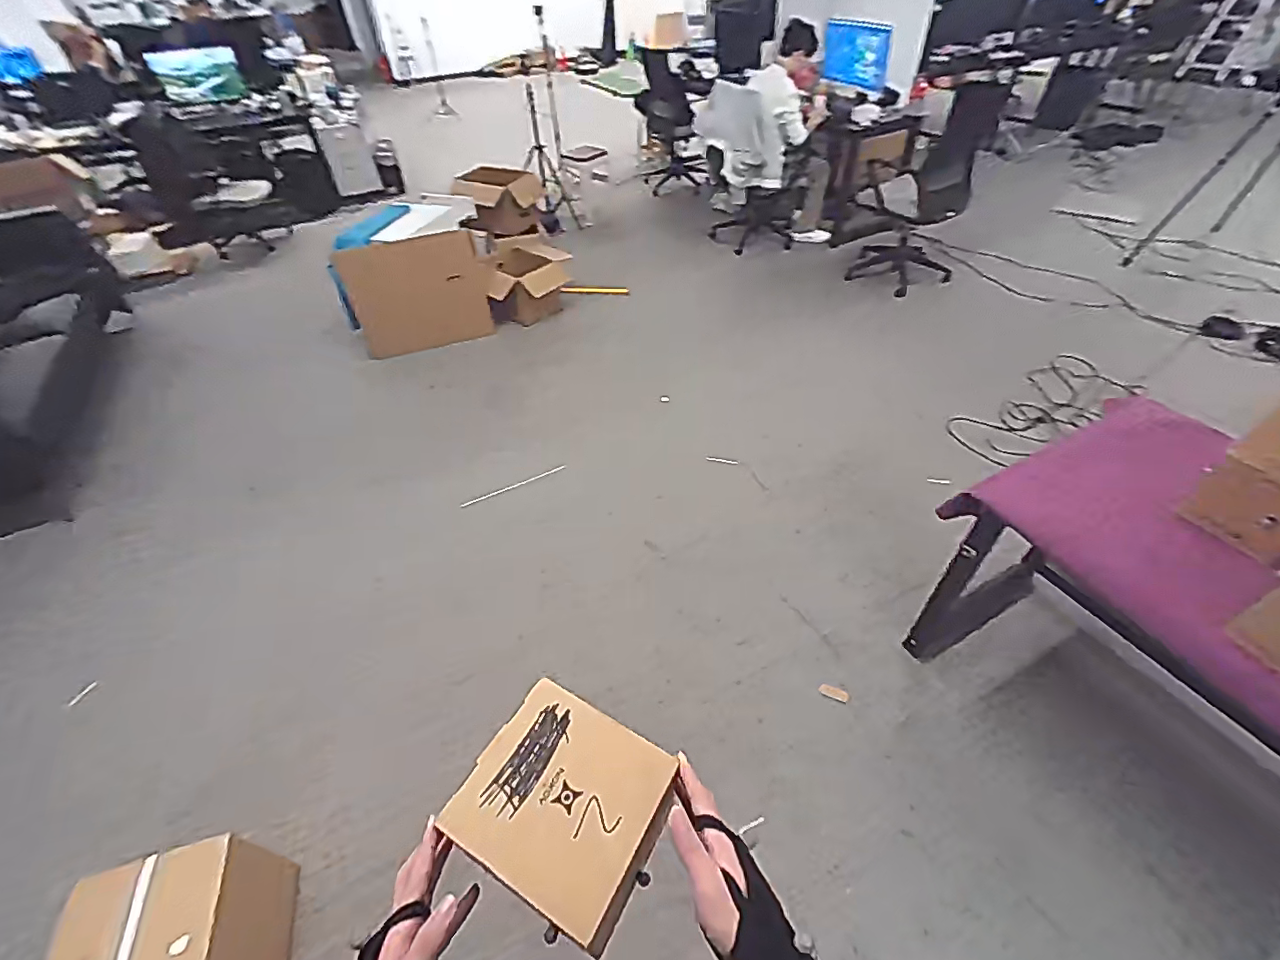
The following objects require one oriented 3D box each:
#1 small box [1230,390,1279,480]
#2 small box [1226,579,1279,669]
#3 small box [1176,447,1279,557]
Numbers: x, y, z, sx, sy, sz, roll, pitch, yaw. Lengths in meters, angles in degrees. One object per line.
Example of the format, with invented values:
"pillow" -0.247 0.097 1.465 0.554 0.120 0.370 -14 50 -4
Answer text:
"small box" 1.217 -0.090 0.949 0.179 0.176 0.168 -22 48 -17
"small box" 1.123 0.225 0.867 0.179 0.176 0.168 -21 48 -17
"small box" 1.230 0.022 1.064 0.179 0.176 0.168 -22 49 -17
